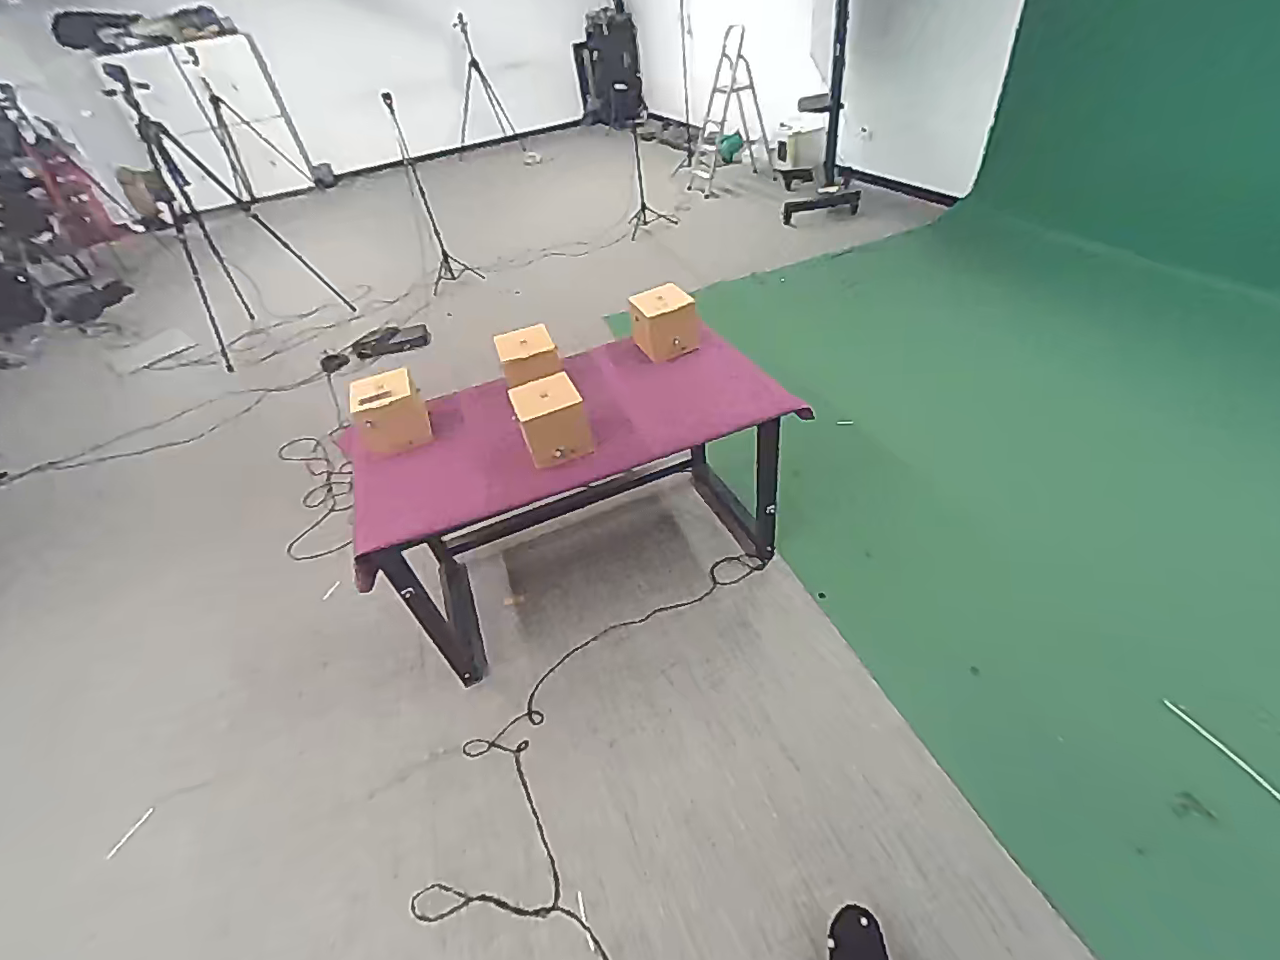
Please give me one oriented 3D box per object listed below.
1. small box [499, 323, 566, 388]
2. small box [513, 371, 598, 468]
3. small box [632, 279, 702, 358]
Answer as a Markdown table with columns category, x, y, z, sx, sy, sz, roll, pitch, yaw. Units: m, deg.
| category | x | y | z | sx | sy | sz | roll | pitch | yaw |
| --- | --- | --- | --- | --- | --- | --- | --- | --- | --- |
| small box | -0.329 | -0.363 | 1.697 | 0.168 | 0.176 | 0.179 | -19 | 45 | -8 |
| small box | -0.227 | -0.163 | 1.460 | 0.168 | 0.176 | 0.179 | -21 | 43 | -9 |
| small box | 0.090 | -0.527 | 1.771 | 0.168 | 0.176 | 0.179 | -24 | 44 | -8 |
